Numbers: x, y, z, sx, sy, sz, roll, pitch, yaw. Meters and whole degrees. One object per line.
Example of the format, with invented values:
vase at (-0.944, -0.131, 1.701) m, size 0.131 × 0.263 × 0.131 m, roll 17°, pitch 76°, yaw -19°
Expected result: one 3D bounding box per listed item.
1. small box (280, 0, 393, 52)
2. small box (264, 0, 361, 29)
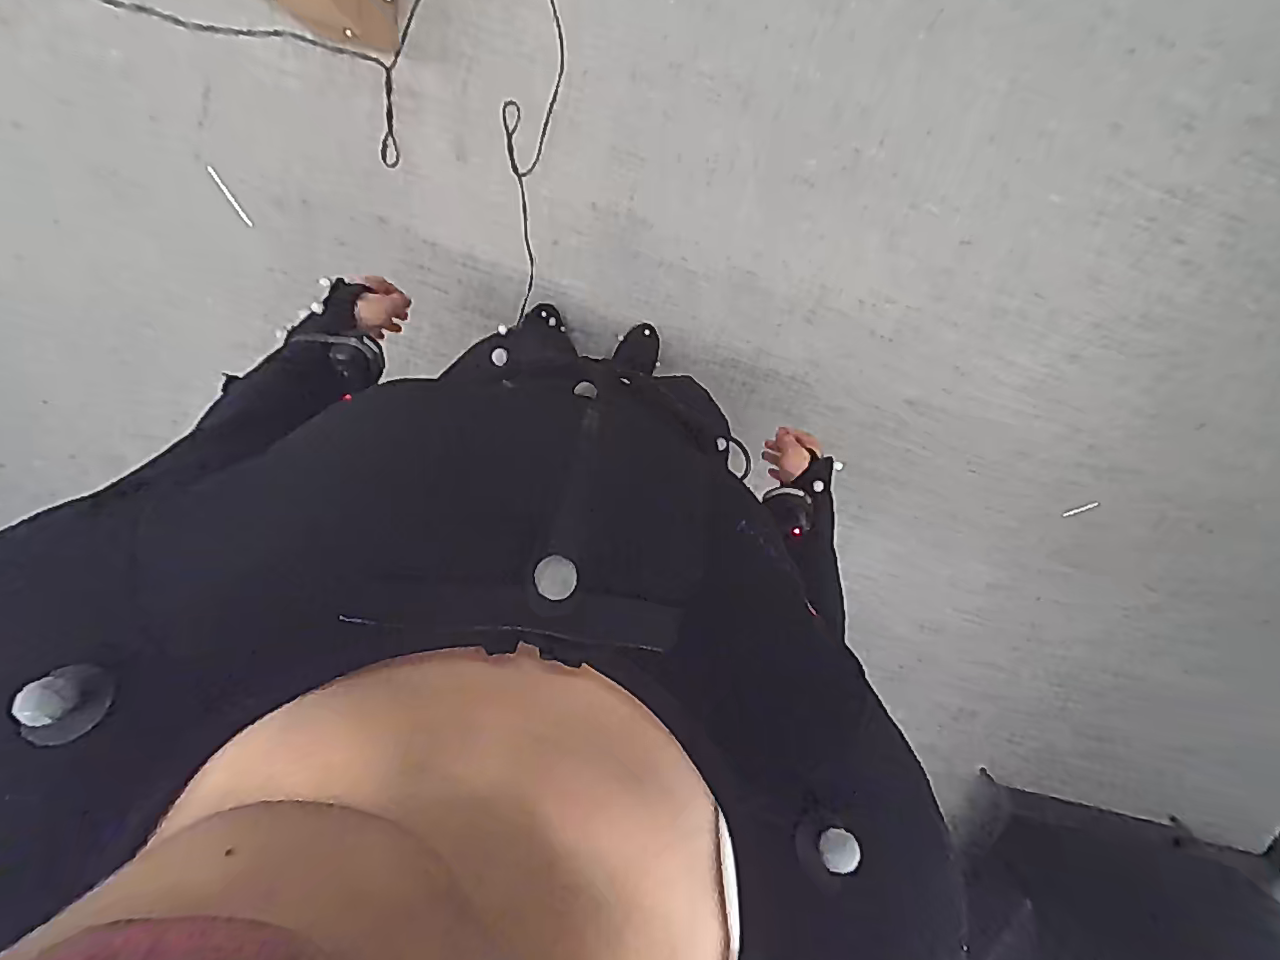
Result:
small box at (-0.606, -0.994, 1.076) m, size 0.179 × 0.176 × 0.168 m, roll 9°, pitch 108°, yaw -4°
small box at (-0.601, -0.924, 0.927) m, size 0.179 × 0.176 × 0.168 m, roll 12°, pitch 108°, yaw -7°
